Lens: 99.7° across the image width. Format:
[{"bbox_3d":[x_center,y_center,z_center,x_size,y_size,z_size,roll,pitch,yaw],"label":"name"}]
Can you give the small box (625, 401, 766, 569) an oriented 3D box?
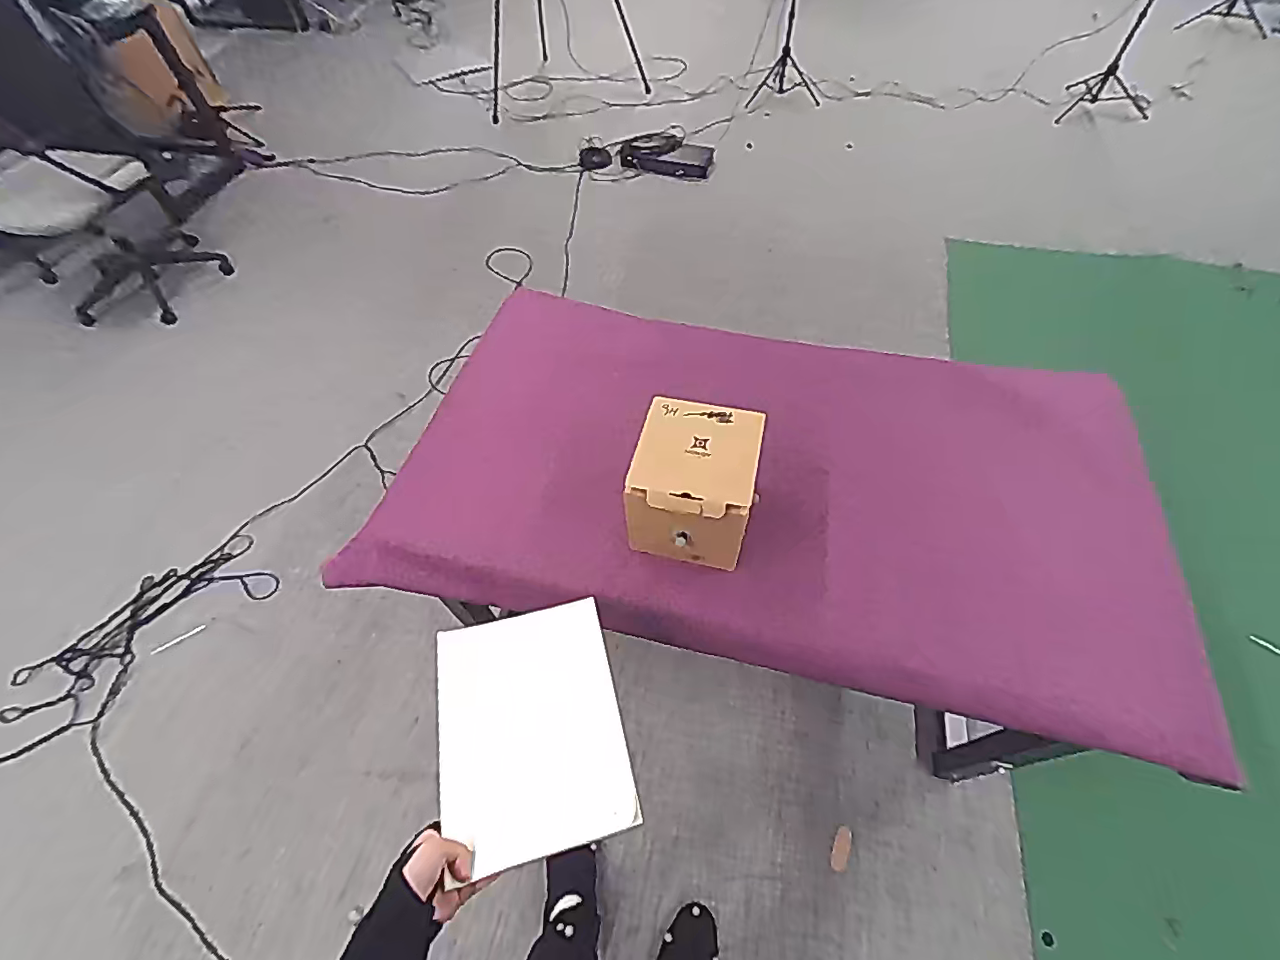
[{"bbox_3d":[0.085,0.012,0.810,0.168,0.176,0.179,11,57,10],"label":"small box"}]
